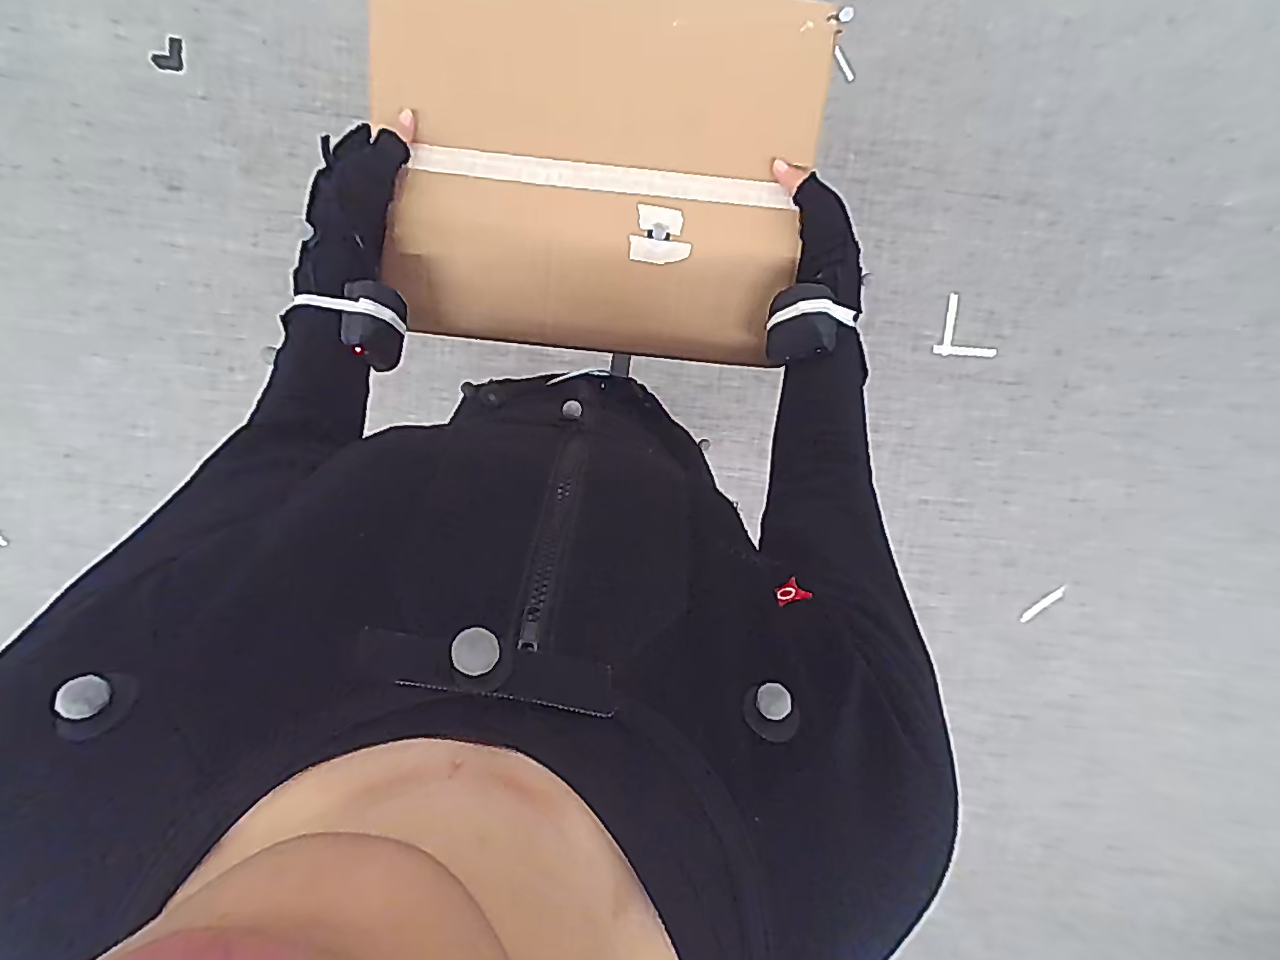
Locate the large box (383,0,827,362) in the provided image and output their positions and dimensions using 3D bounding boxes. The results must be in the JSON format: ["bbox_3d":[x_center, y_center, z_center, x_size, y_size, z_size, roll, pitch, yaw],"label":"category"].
[{"bbox_3d":[-0.046,-0.325,0.660,0.408,0.320,0.320,5,106,-3],"label":"large box"}]
